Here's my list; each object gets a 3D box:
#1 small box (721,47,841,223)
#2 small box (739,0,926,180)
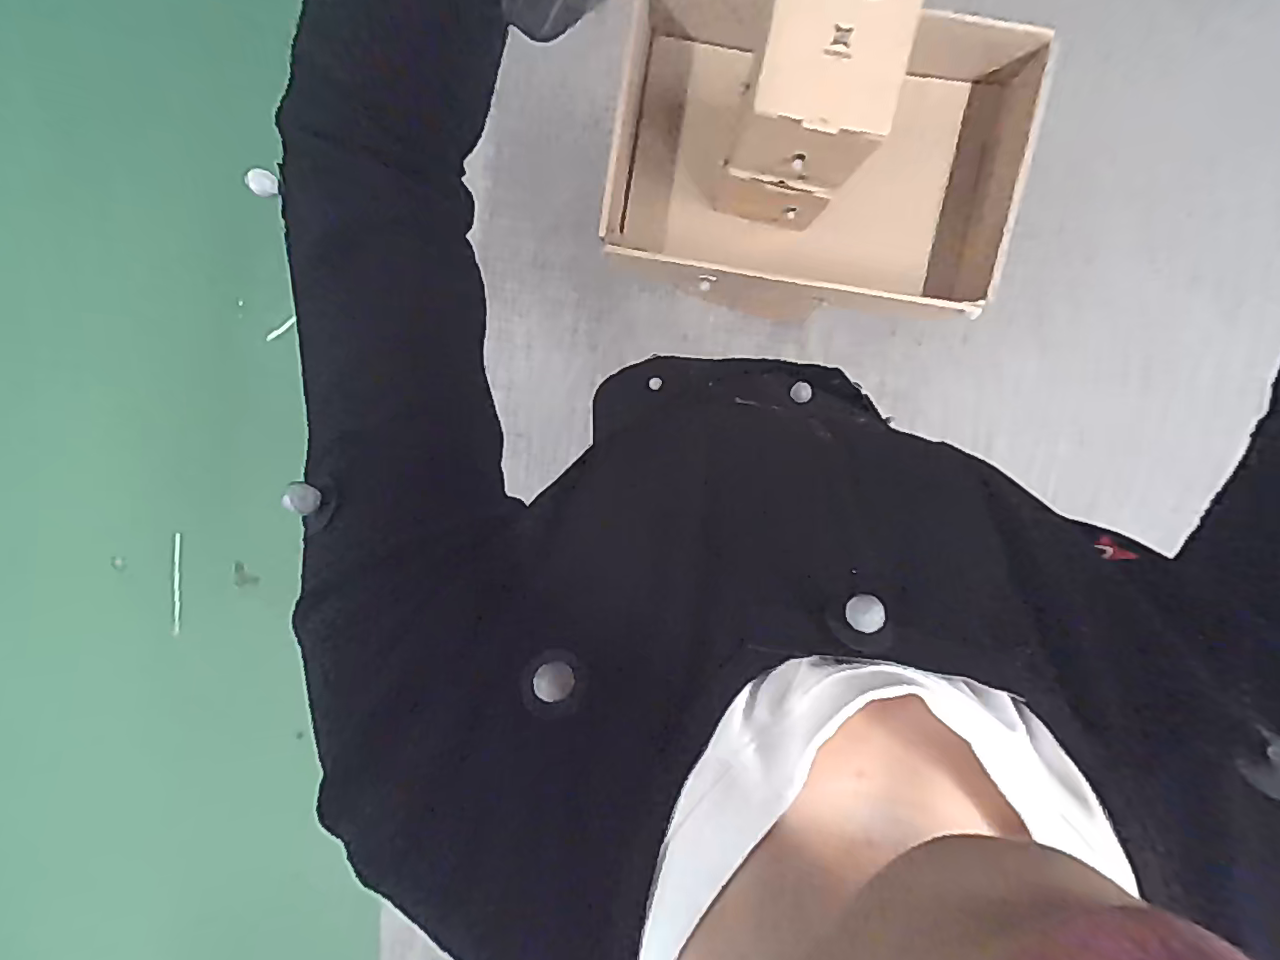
[{"bbox_3d":[0.233,-0.536,0.863,0.168,0.176,0.179,12,98,-2],"label":"small box"},{"bbox_3d":[0.233,-0.518,0.699,0.168,0.176,0.179,12,101,-2],"label":"small box"}]
